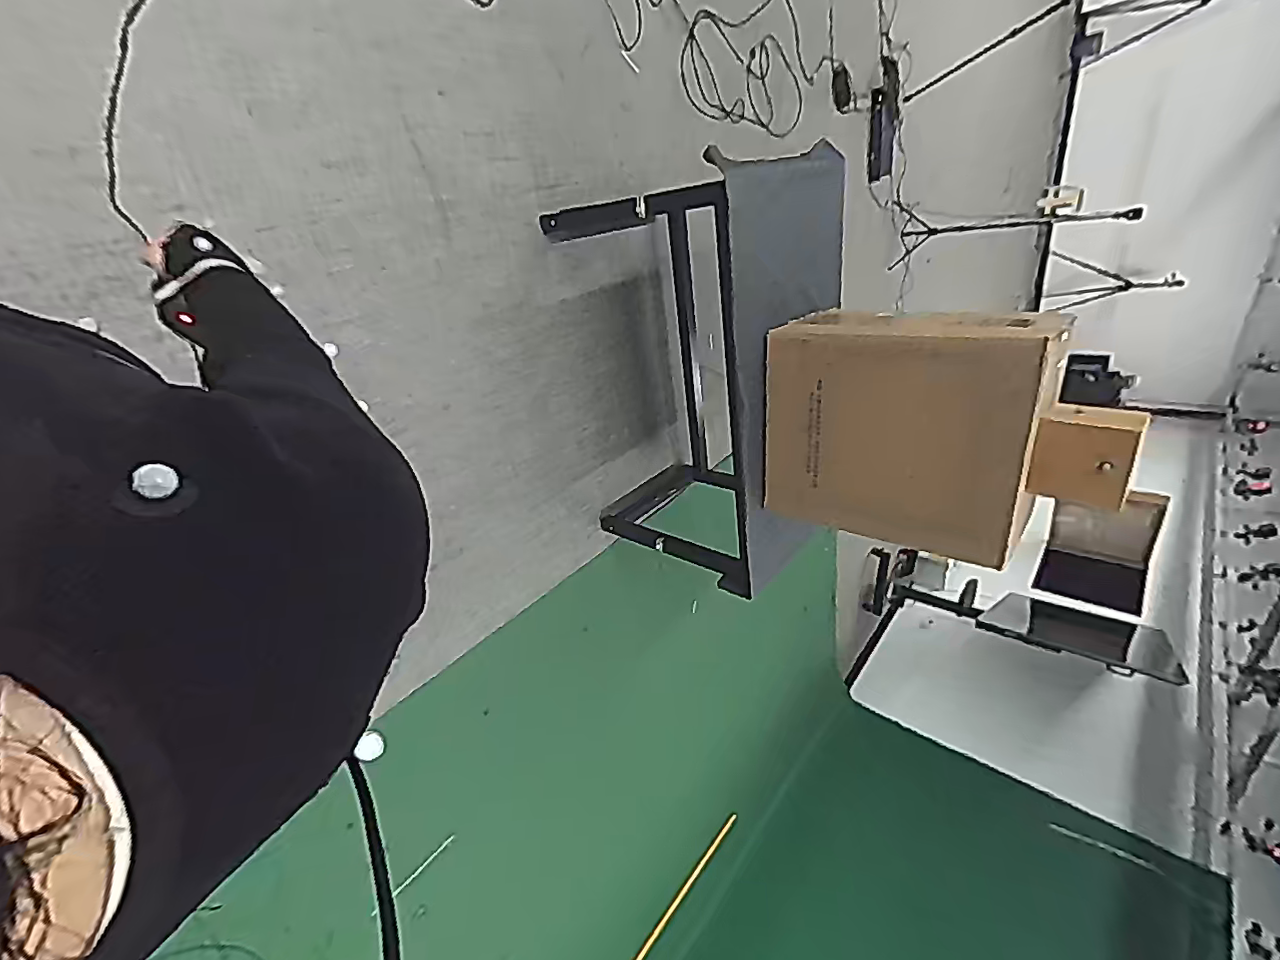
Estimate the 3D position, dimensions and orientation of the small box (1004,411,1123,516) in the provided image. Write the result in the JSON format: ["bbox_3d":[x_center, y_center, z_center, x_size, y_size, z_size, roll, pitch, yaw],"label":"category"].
[{"bbox_3d":[0.932,-0.045,1.200,0.168,0.176,0.179,-23,118,-41],"label":"small box"}]
